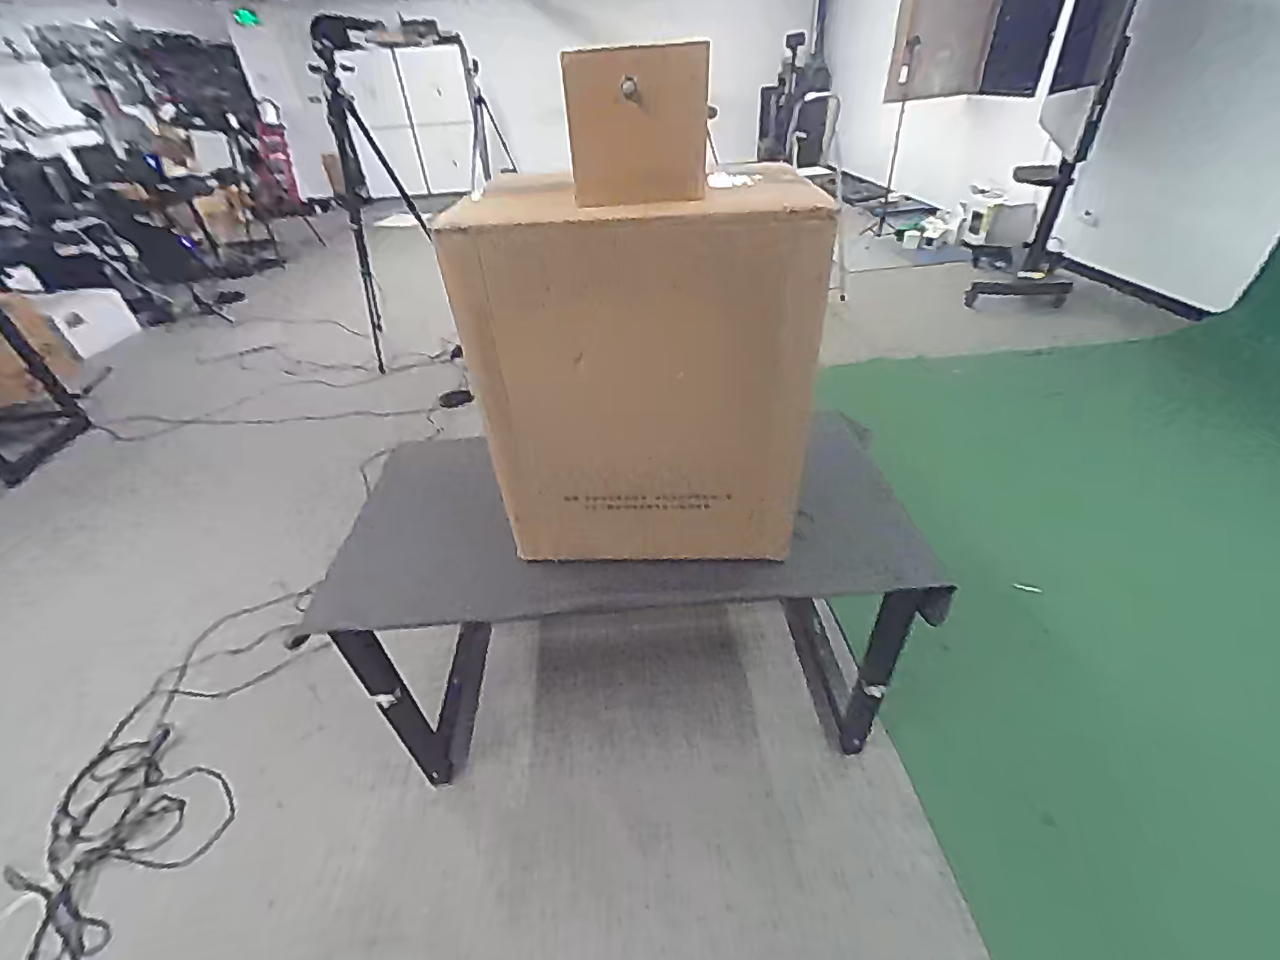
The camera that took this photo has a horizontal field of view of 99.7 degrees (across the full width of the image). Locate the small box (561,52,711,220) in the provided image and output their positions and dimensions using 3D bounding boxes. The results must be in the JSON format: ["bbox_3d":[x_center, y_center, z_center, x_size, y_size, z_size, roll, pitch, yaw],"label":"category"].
[{"bbox_3d":[0.000,-0.465,0.733,0.179,0.176,0.168,-2,40,3],"label":"small box"}]
